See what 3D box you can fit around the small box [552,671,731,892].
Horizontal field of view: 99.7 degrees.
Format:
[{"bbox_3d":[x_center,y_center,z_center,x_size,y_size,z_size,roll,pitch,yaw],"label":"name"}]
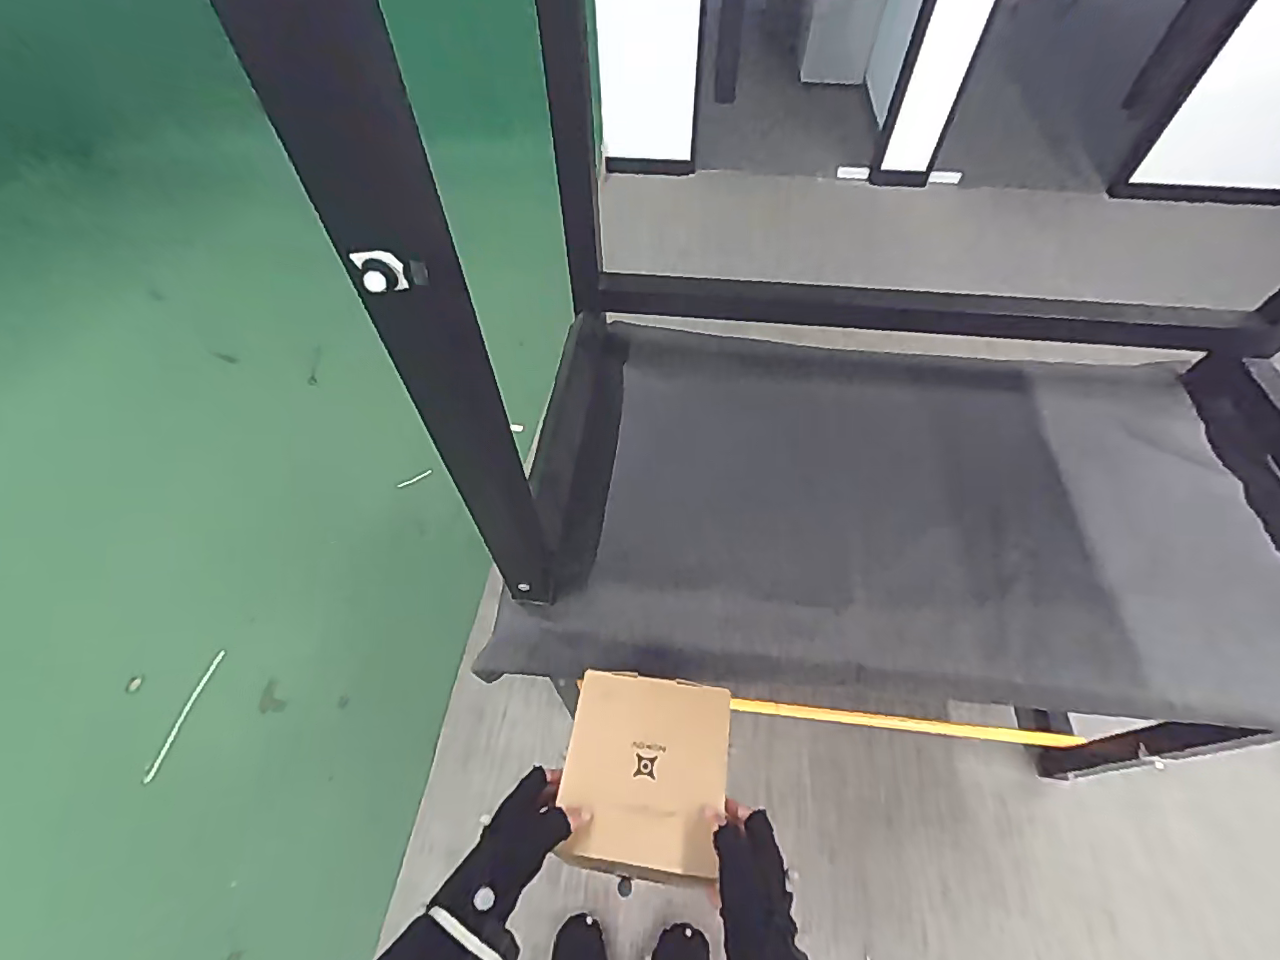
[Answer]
[{"bbox_3d":[0.010,0.343,0.615,0.168,0.176,0.179,4,50,7],"label":"small box"}]
